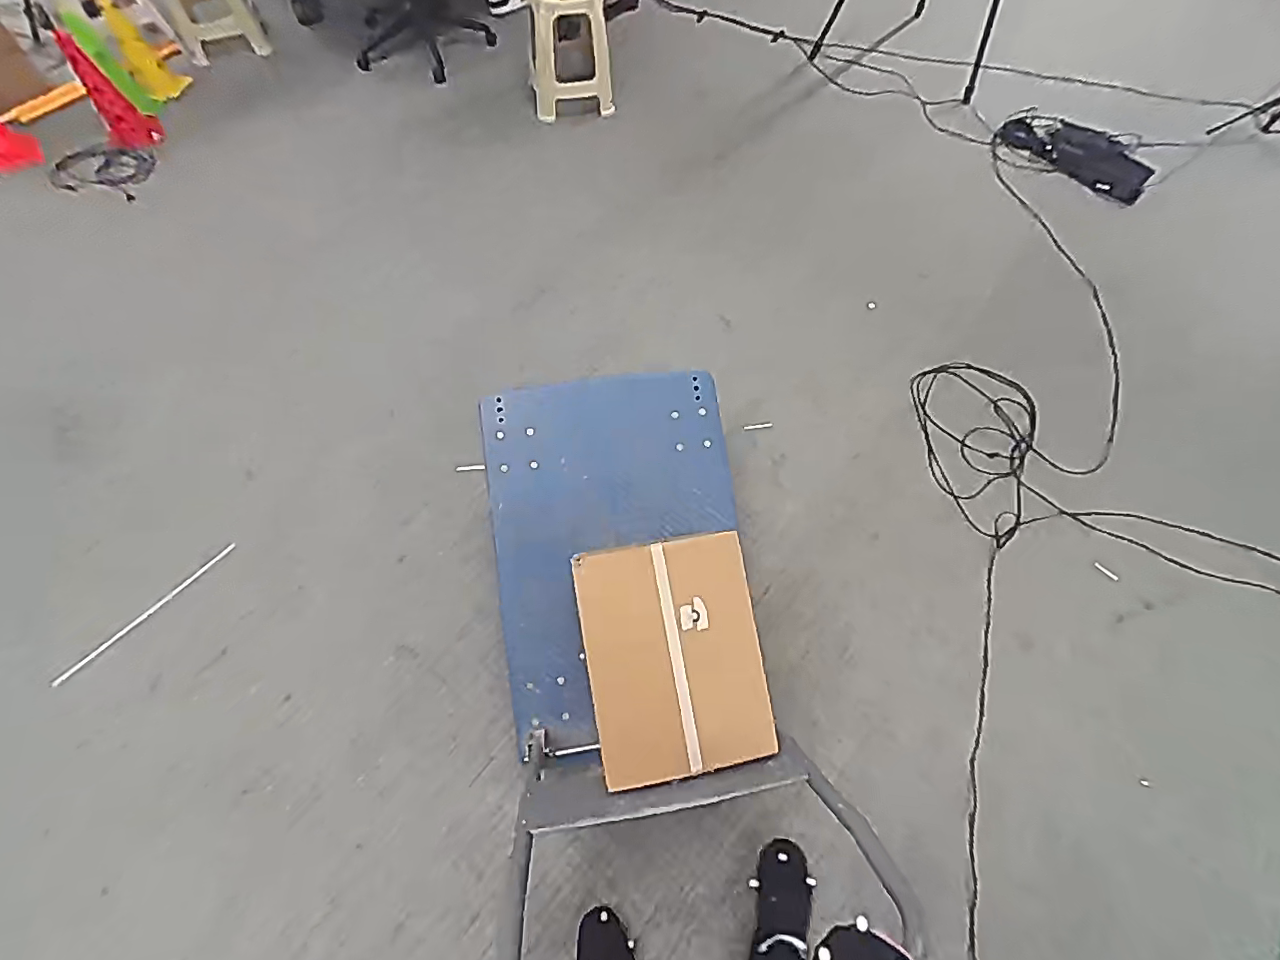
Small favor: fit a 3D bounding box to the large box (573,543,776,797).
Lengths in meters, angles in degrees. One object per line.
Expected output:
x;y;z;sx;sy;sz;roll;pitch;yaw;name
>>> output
0.051;0.359;1.130;0.320;0.320;0.408;-9;83;-7;large box
